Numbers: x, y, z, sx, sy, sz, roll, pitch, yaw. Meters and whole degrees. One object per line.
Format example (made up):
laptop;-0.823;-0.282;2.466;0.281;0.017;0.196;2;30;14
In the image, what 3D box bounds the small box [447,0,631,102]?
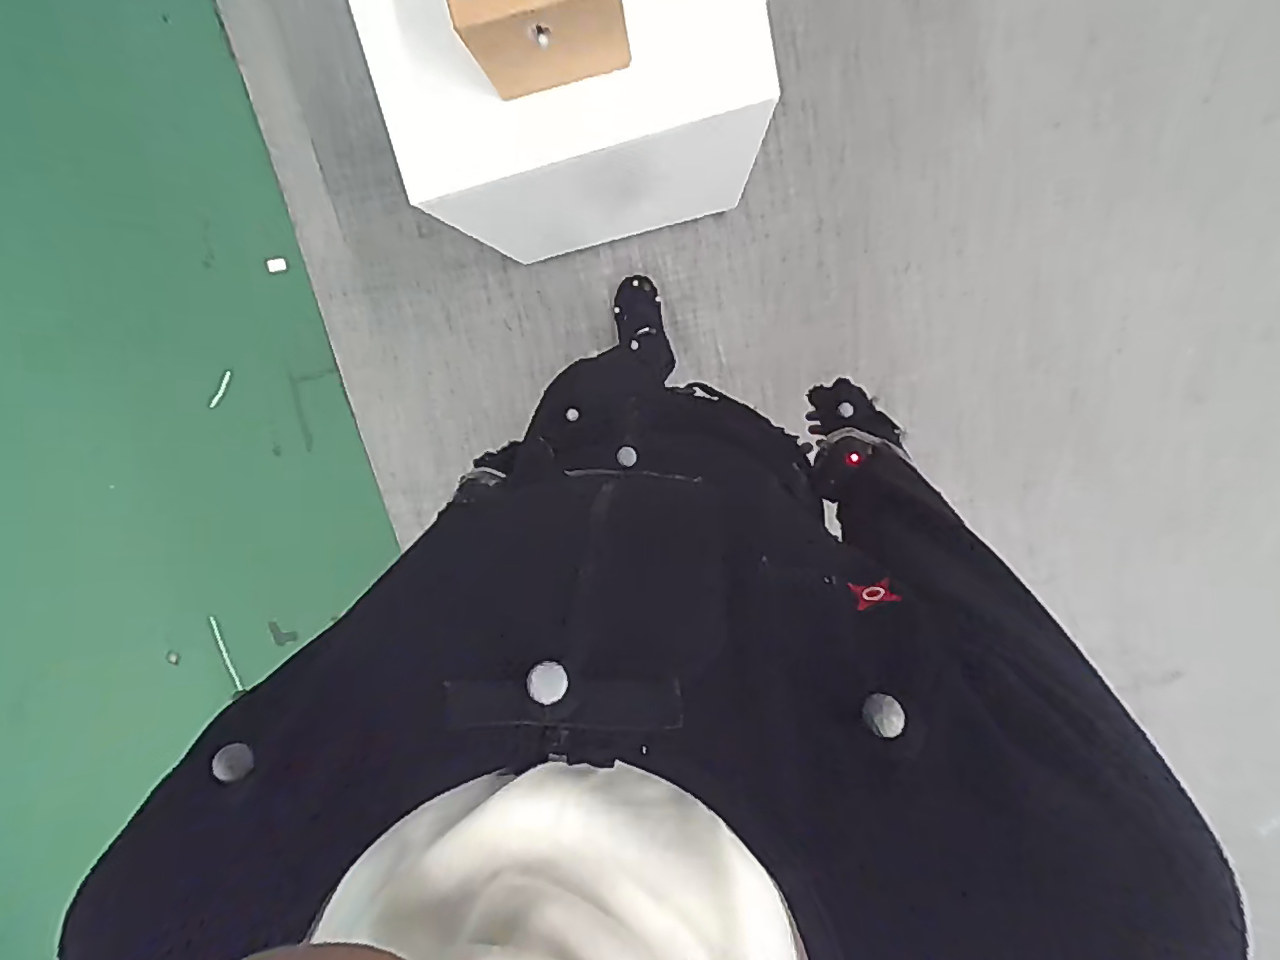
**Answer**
small box;-0.116;-0.565;0.608;0.179;0.176;0.168;-11;103;6
